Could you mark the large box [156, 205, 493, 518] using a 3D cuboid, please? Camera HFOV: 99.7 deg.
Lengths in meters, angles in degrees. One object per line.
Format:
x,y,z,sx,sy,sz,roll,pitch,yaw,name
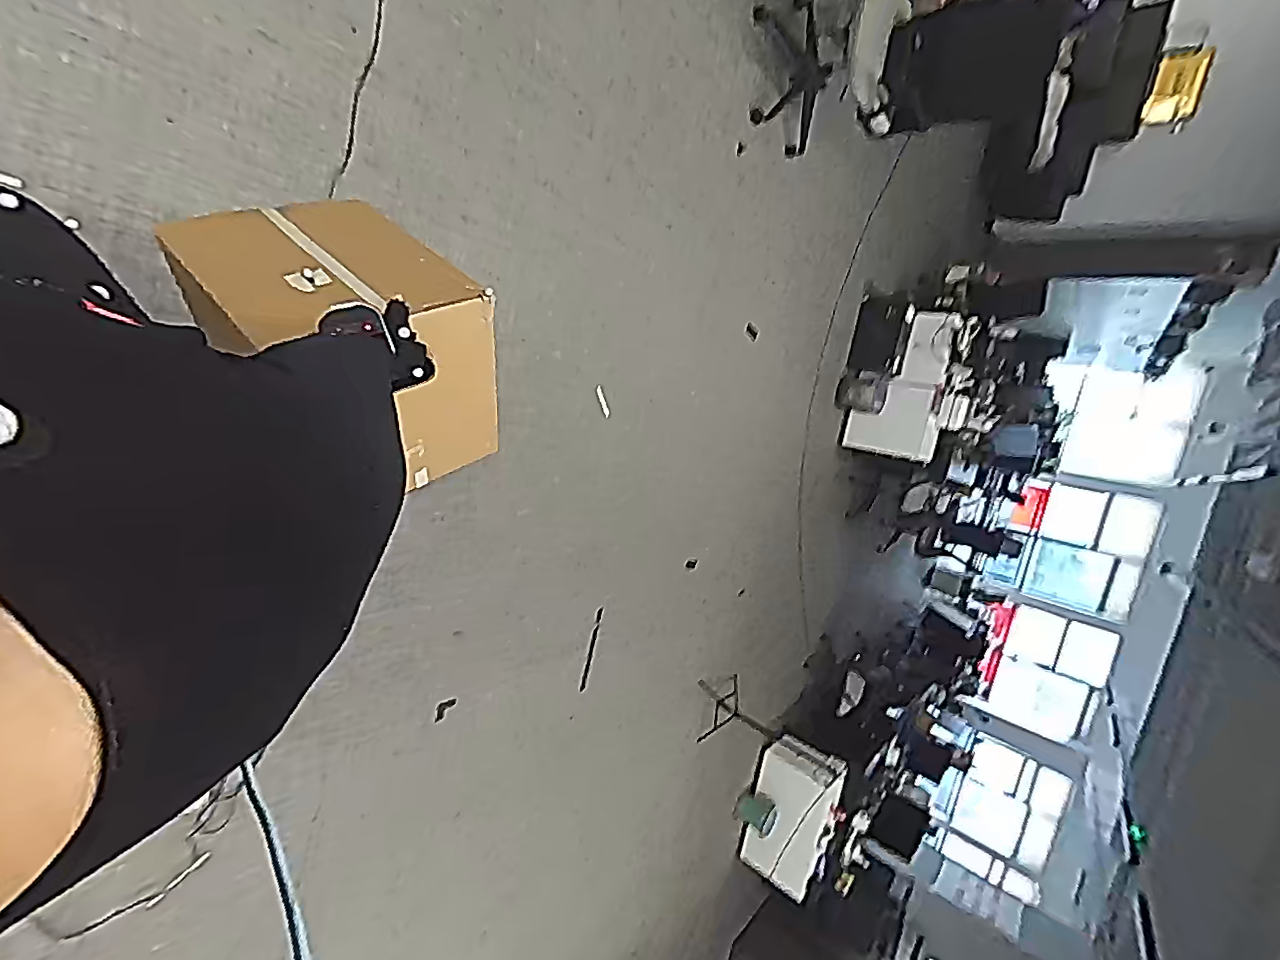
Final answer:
-0.495,-0.214,0.912,0.320,0.408,0.320,-34,151,-36,large box
